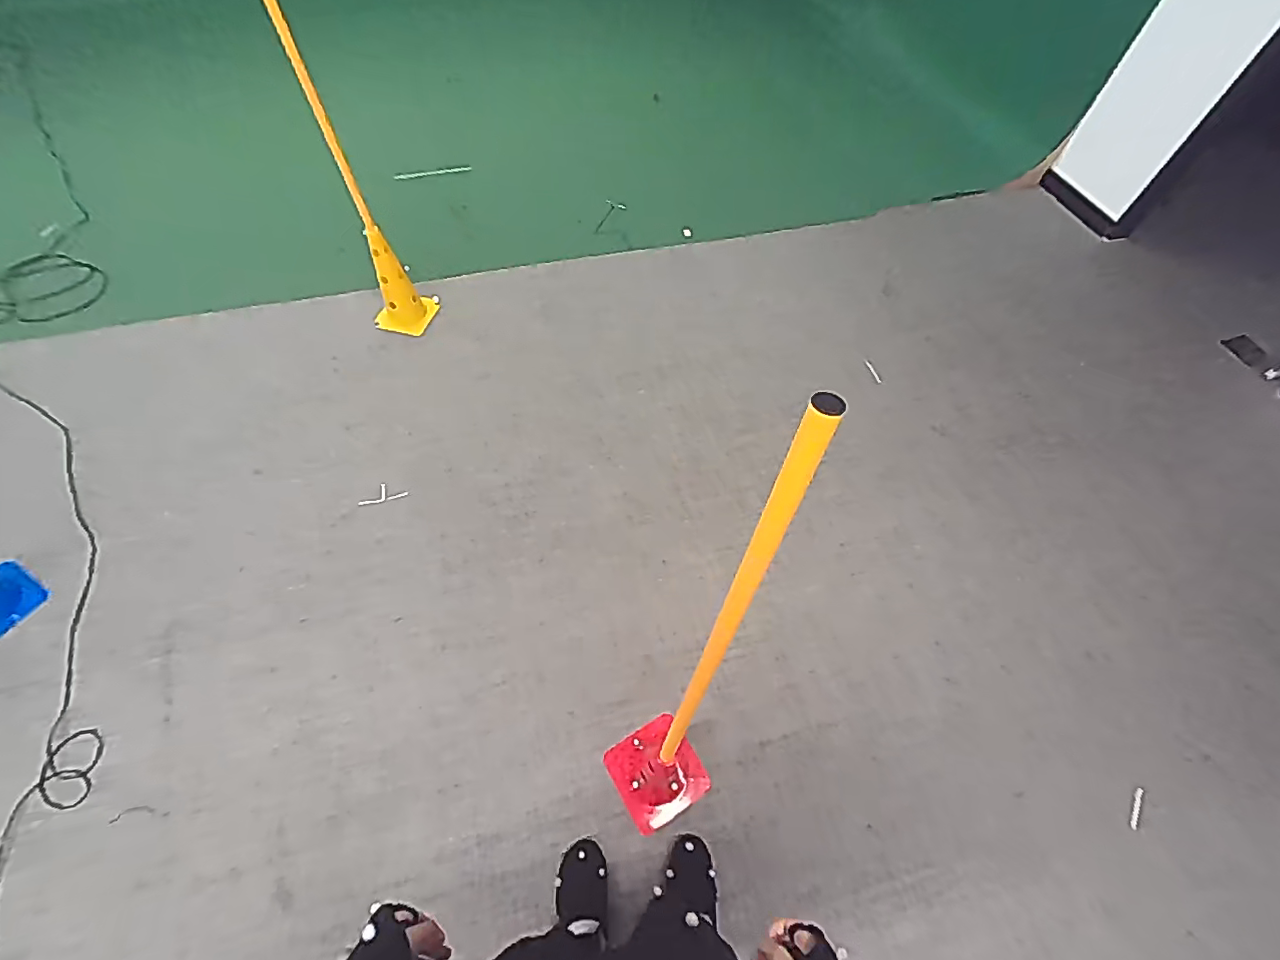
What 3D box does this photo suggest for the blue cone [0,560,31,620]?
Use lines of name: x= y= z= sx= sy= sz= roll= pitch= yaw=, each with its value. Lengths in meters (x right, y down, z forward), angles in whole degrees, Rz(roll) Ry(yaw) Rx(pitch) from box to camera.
blue cone: x=-1.736 y=0.241 z=1.286 sx=0.192 sy=0.380 sz=0.193 roll=28 pitch=64 yaw=13
